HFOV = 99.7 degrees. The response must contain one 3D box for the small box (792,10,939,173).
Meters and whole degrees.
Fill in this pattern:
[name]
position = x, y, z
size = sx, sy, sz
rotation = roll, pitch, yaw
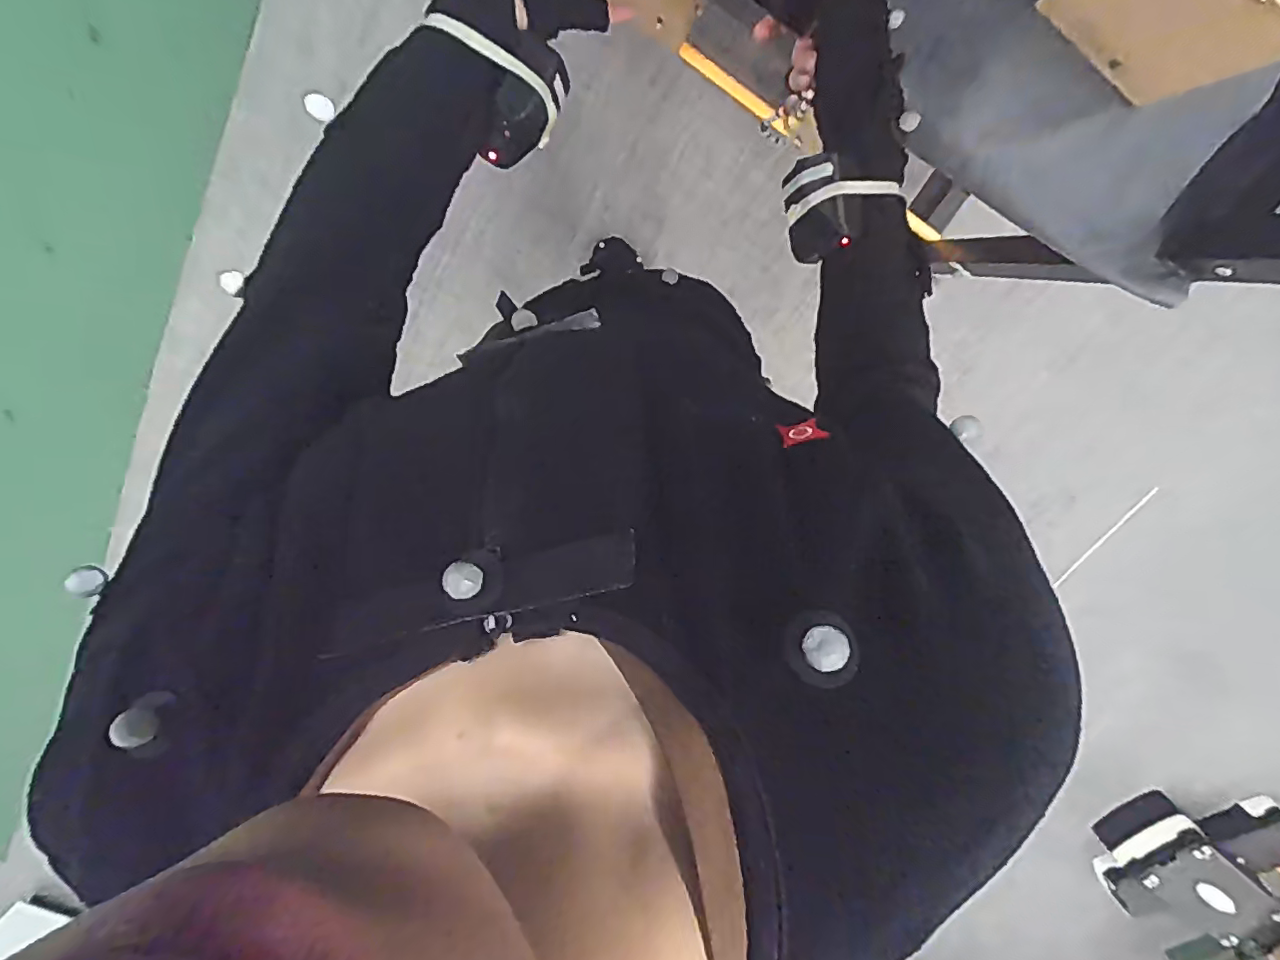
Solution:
[small box]
position = 0.412, -0.718, 1.028
size = 0.168, 0.176, 0.179
rotation = 32, 109, -13
